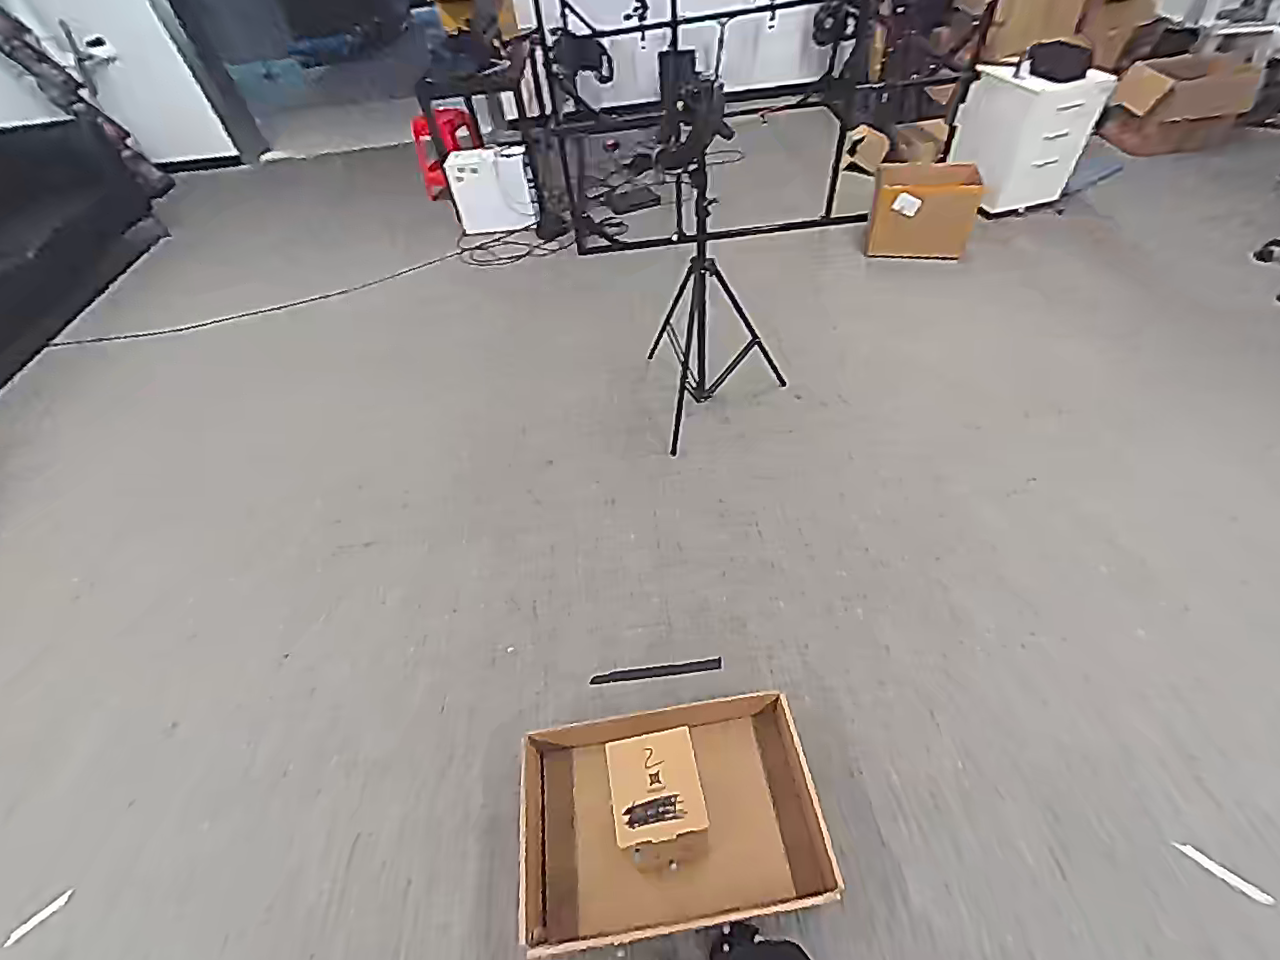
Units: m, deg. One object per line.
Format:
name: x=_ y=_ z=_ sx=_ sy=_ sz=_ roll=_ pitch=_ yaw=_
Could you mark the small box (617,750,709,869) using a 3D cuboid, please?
small box: x=0.049 y=0.714 z=1.170 sx=0.168 sy=0.176 sz=0.179 roll=-11 pitch=49 yaw=-3
